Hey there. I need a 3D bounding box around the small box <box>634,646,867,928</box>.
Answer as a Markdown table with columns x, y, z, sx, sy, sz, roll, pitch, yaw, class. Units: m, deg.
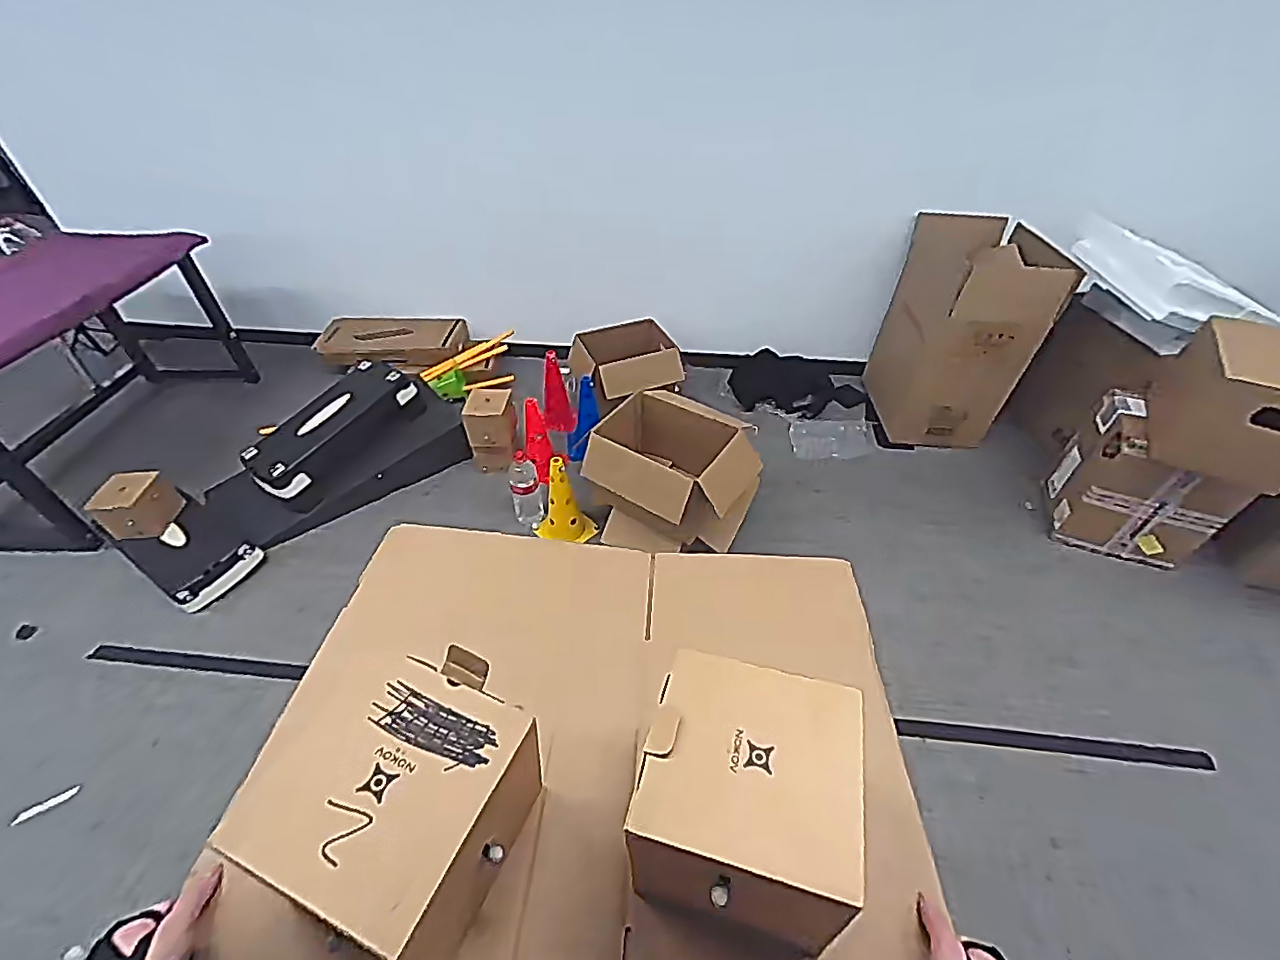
| x | y | z | sx | sy | sz | roll | pitch | yaw | class |
| --- | --- | --- | --- | --- | --- | --- | --- | --- | --- |
| 0.104 | 0.290 | 0.513 | 0.179 | 0.176 | 0.168 | 9 | 43 | 14 | small box |
